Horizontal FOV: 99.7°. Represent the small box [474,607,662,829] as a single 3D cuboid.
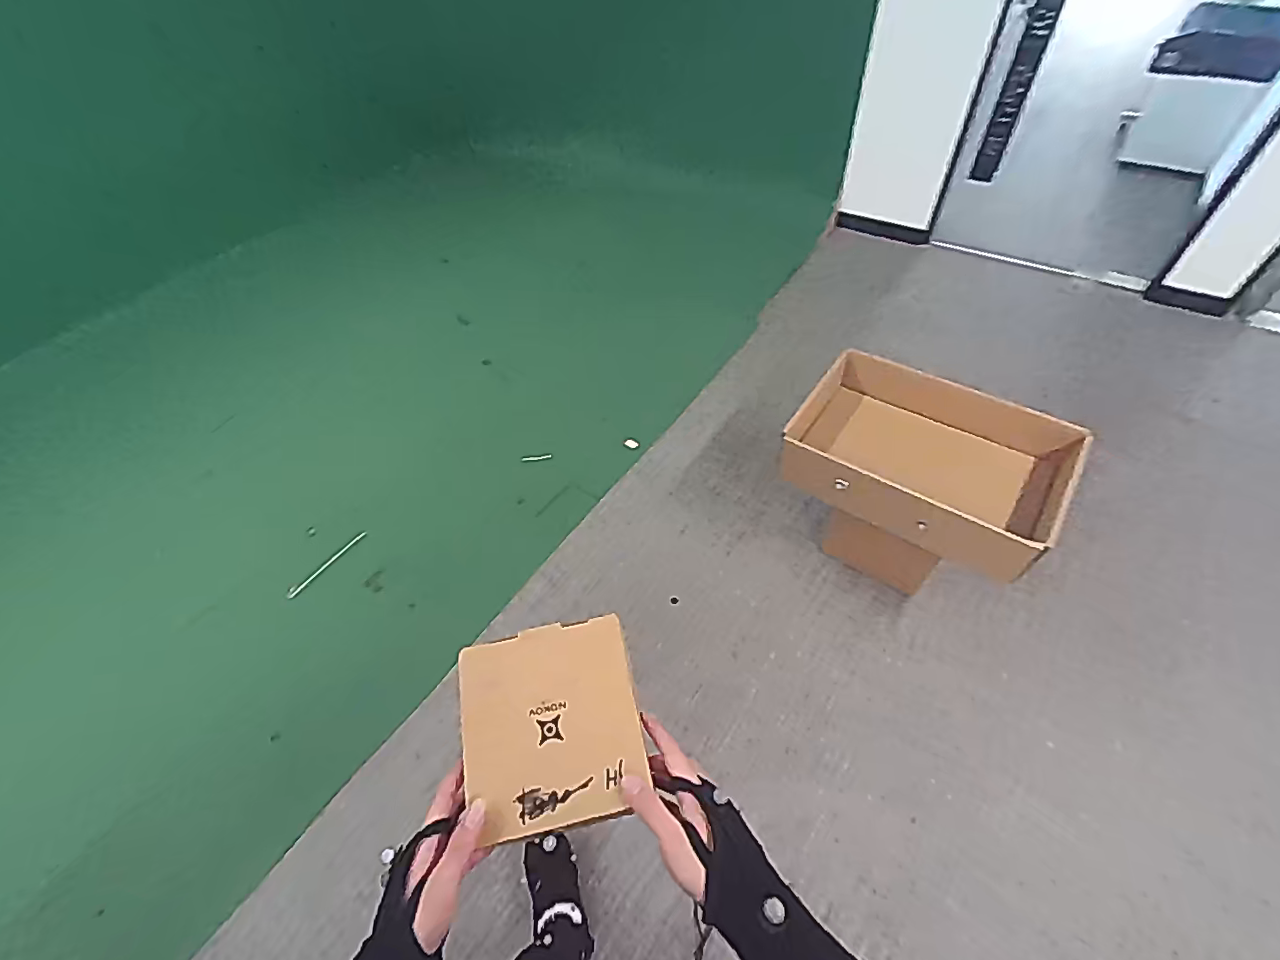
[{"bbox_3d":[-0.073,0.259,0.580,0.168,0.176,0.179,-10,58,-3],"label":"small box"}]
